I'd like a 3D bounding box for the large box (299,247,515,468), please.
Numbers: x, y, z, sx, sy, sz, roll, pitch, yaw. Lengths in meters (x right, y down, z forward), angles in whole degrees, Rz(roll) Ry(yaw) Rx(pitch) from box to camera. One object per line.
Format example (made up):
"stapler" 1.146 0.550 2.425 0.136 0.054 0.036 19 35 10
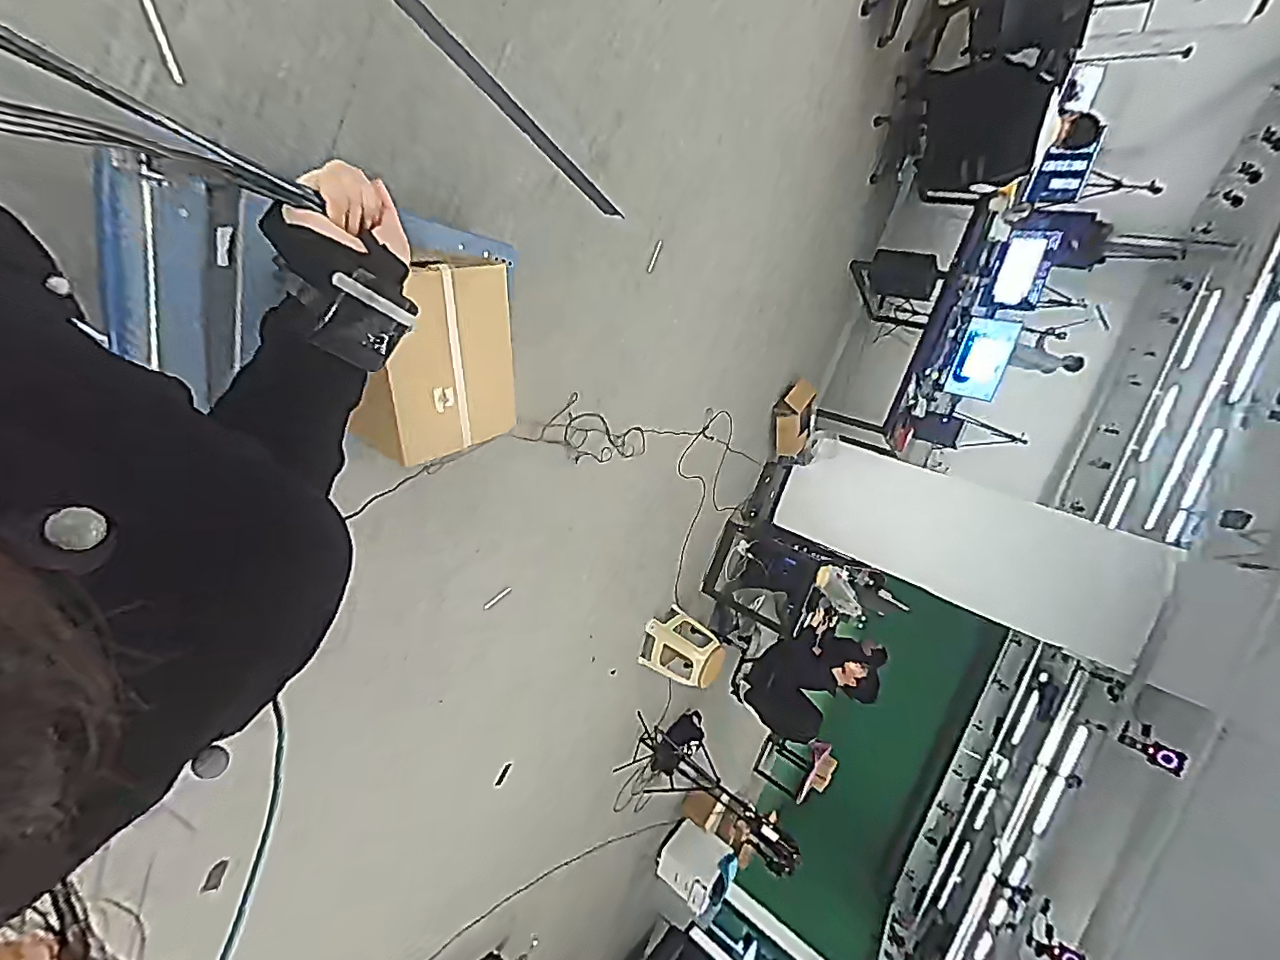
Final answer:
"large box" -0.523 -0.302 1.264 0.320 0.320 0.408 -29 133 -43
